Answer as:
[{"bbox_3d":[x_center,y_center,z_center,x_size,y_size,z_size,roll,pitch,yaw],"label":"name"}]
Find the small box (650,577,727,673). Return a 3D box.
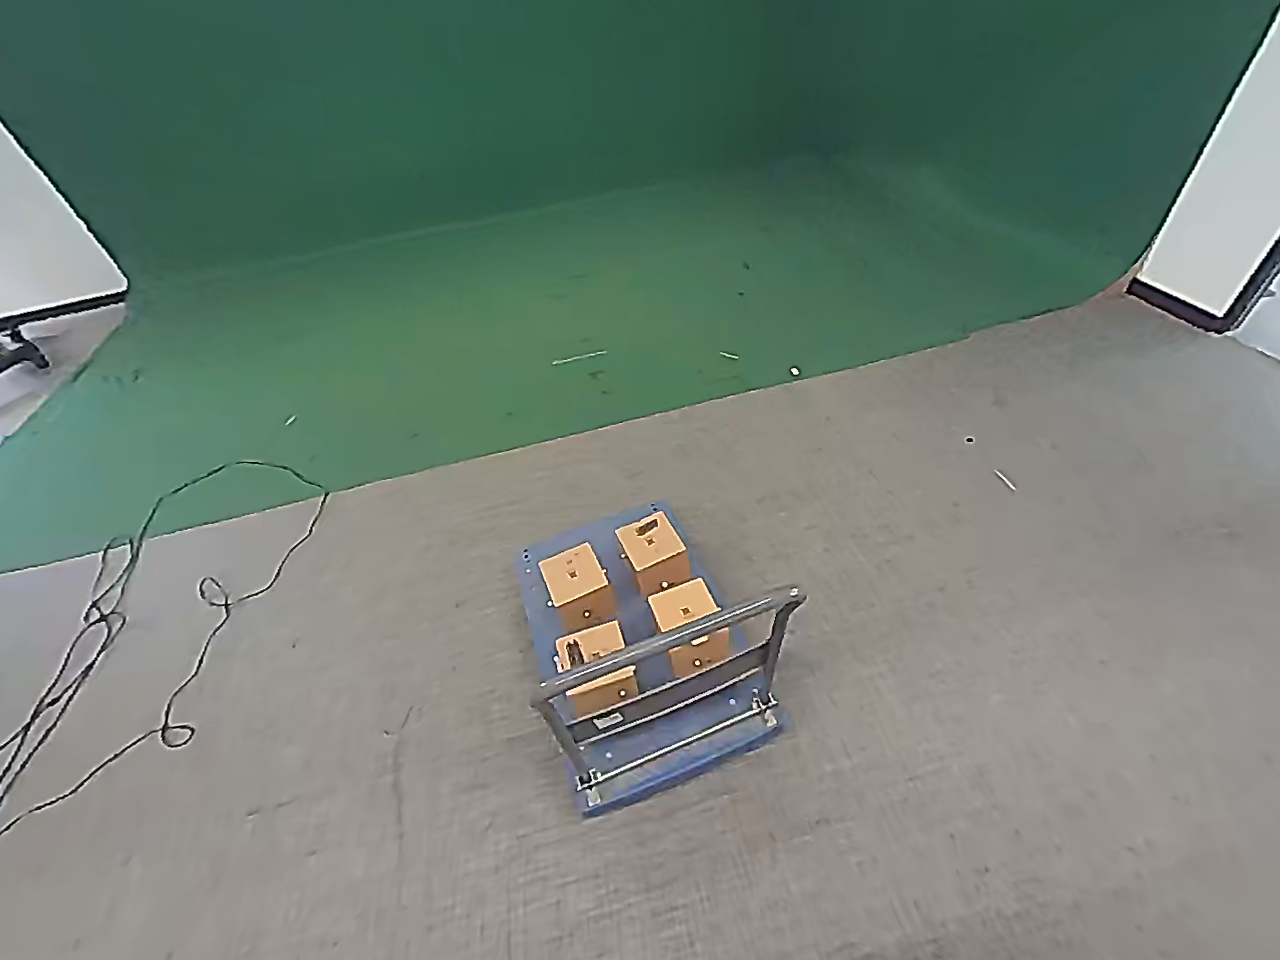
[{"bbox_3d":[0.136,0.412,1.531,0.168,0.176,0.179,-19,47,-9],"label":"small box"}]

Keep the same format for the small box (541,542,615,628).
[{"bbox_3d":[-0.186,0.330,1.661,0.168,0.176,0.179,-21,47,-13],"label":"small box"}]

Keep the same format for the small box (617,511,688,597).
[{"bbox_3d":[0.041,0.237,1.714,0.168,0.176,0.179,-22,48,-11],"label":"small box"}]
